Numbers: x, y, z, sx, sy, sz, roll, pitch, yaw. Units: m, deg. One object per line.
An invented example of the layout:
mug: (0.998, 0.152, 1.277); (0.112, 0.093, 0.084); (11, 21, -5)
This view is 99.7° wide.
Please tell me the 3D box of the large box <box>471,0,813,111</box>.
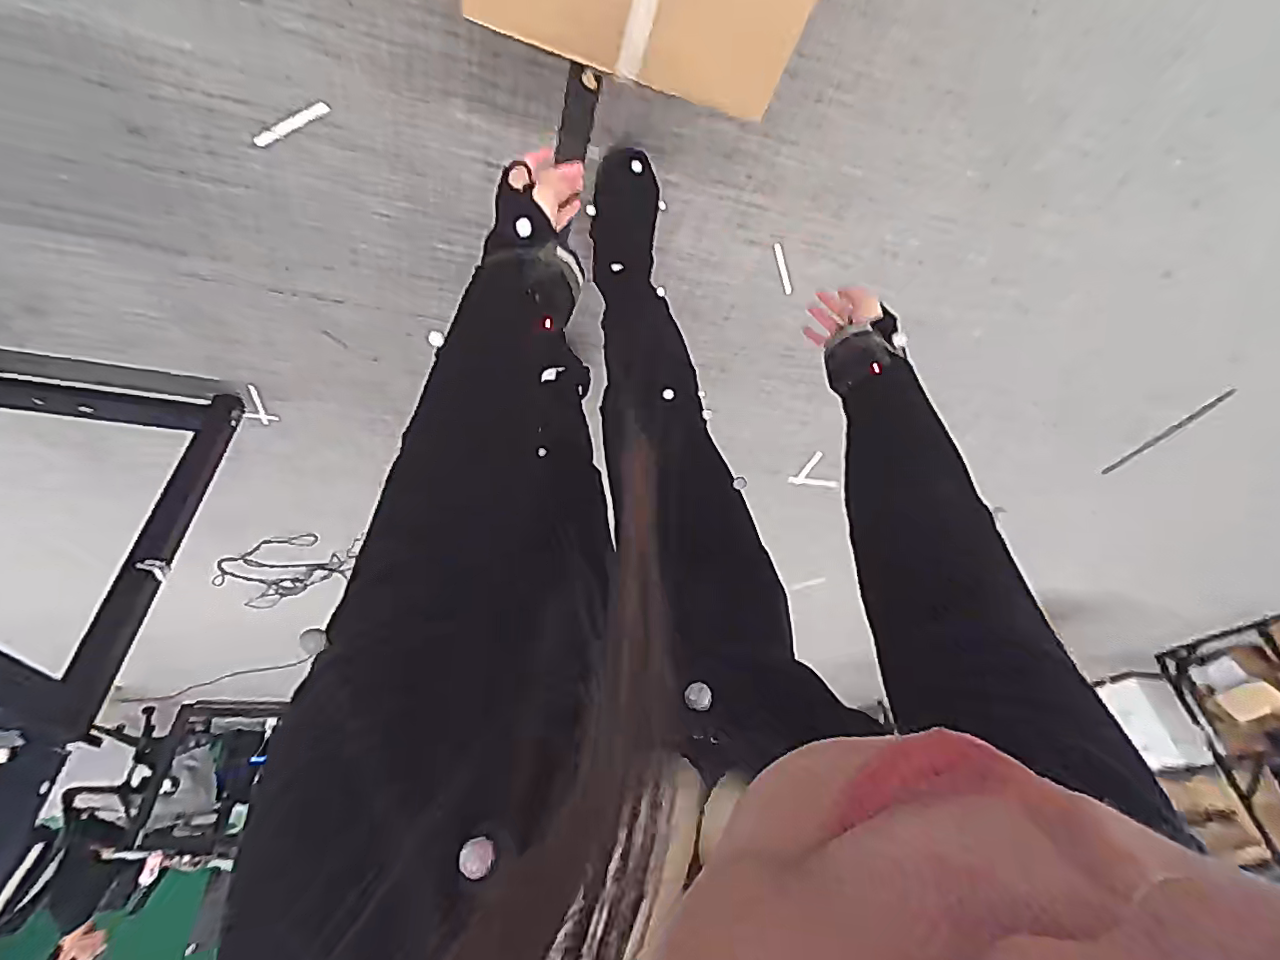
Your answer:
large box: (0.036, -0.644, 0.473); (0.320, 0.320, 0.408); (8, 142, -17)
